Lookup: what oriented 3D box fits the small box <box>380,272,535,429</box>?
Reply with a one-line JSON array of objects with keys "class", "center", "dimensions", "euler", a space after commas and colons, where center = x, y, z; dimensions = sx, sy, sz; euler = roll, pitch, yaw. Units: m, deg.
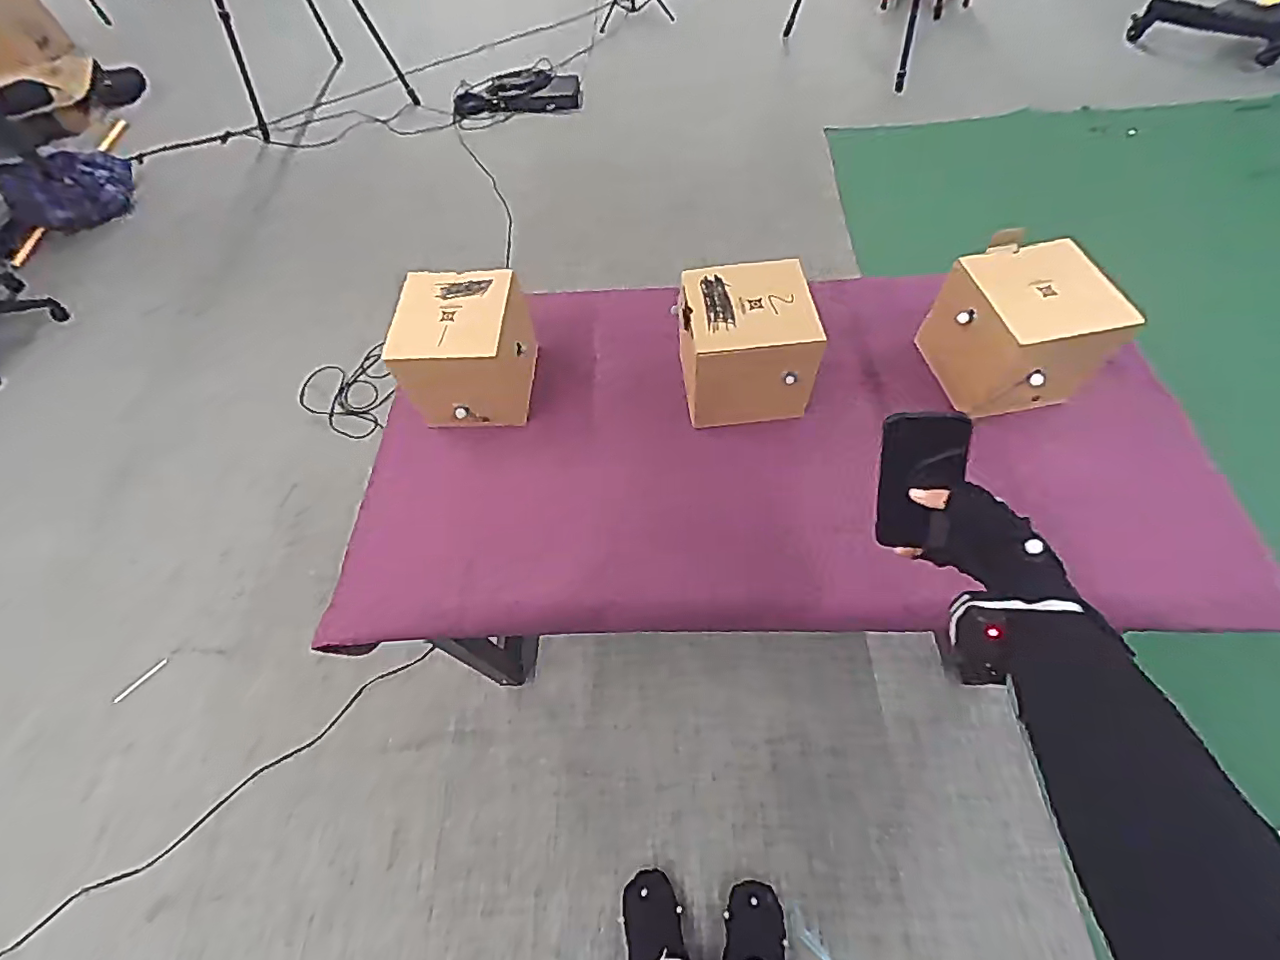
[{"class": "small box", "center": [-0.268, -0.198, 0.844], "dimensions": [0.168, 0.176, 0.179], "euler": [0, 61, 4]}]

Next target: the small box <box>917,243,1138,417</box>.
[{"class": "small box", "center": [0.544, -0.209, 0.792], "dimensions": [0.168, 0.176, 0.179], "euler": [-11, 59, -1]}]
